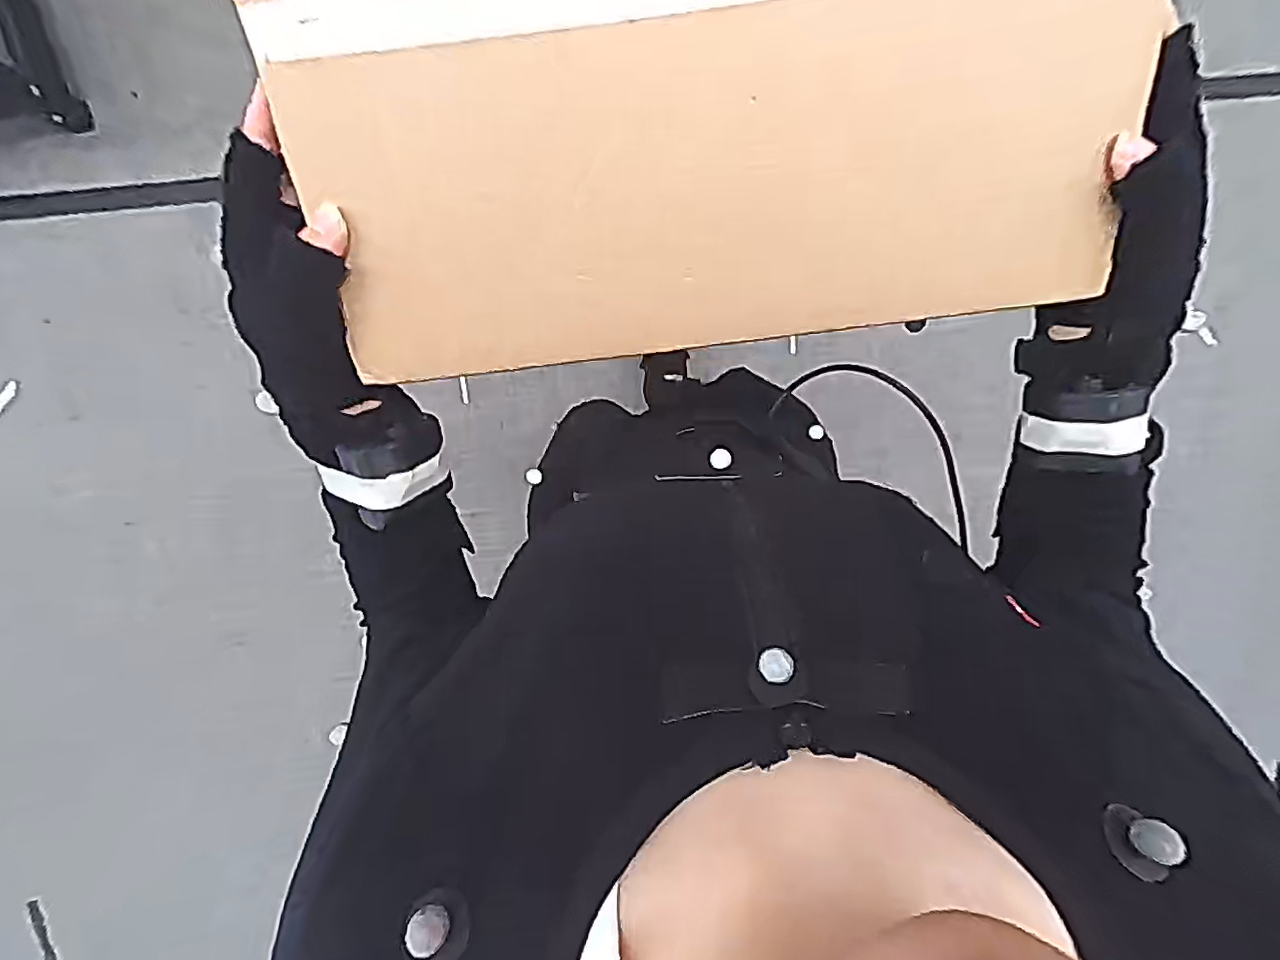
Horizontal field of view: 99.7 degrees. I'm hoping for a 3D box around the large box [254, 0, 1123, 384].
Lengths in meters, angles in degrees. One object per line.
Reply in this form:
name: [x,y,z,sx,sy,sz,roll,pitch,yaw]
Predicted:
large box: [0.023,-0.279,0.382,0.408,0.320,0.320,-7,112,1]
